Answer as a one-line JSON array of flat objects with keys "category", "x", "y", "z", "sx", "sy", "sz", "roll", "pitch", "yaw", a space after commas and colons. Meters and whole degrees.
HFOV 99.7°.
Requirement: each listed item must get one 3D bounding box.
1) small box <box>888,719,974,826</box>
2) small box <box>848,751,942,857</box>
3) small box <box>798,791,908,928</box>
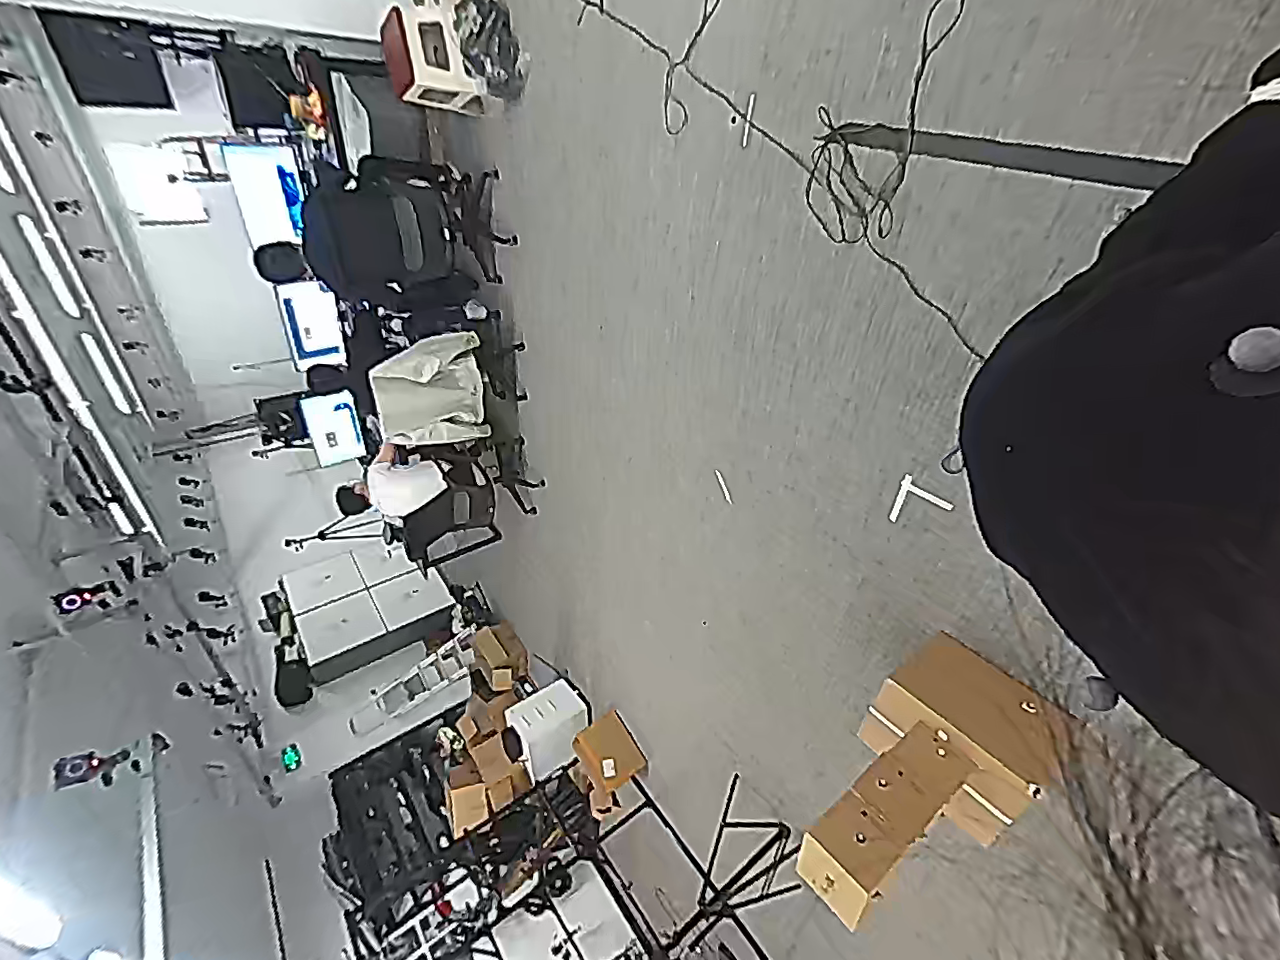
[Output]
[{"category": "small box", "x": 0.764, "y": 0.794, "z": 1.461, "sx": 0.168, "sy": 0.176, "sz": 0.179, "roll": 37, "pitch": 135, "yaw": 40}, {"category": "small box", "x": 0.634, "y": 0.836, "z": 1.374, "sx": 0.168, "sy": 0.176, "sz": 0.179, "roll": 37, "pitch": 136, "yaw": 42}, {"category": "small box", "x": 0.506, "y": 0.890, "z": 1.286, "sx": 0.168, "sy": 0.176, "sz": 0.179, "roll": 33, "pitch": 133, "yaw": 45}]
